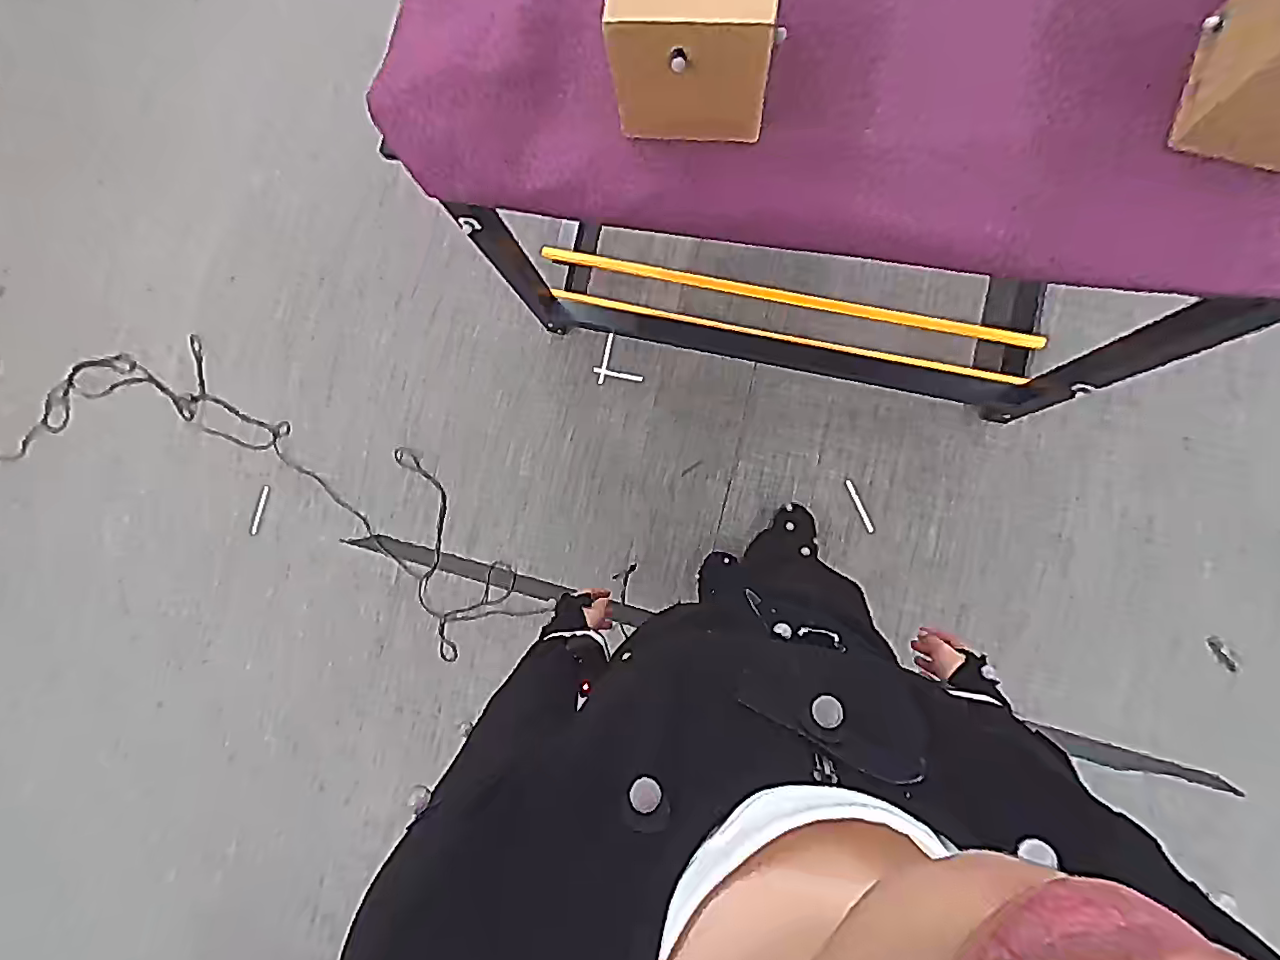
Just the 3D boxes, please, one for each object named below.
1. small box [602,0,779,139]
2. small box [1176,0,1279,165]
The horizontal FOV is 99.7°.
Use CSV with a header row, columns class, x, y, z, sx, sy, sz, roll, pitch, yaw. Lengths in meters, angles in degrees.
class,x,y,z,sx,sy,sz,roll,pitch,yaw
small box,0.066,-0.527,0.622,0.179,0.176,0.168,7,86,8
small box,0.700,-0.443,0.531,0.179,0.176,0.168,19,87,8
